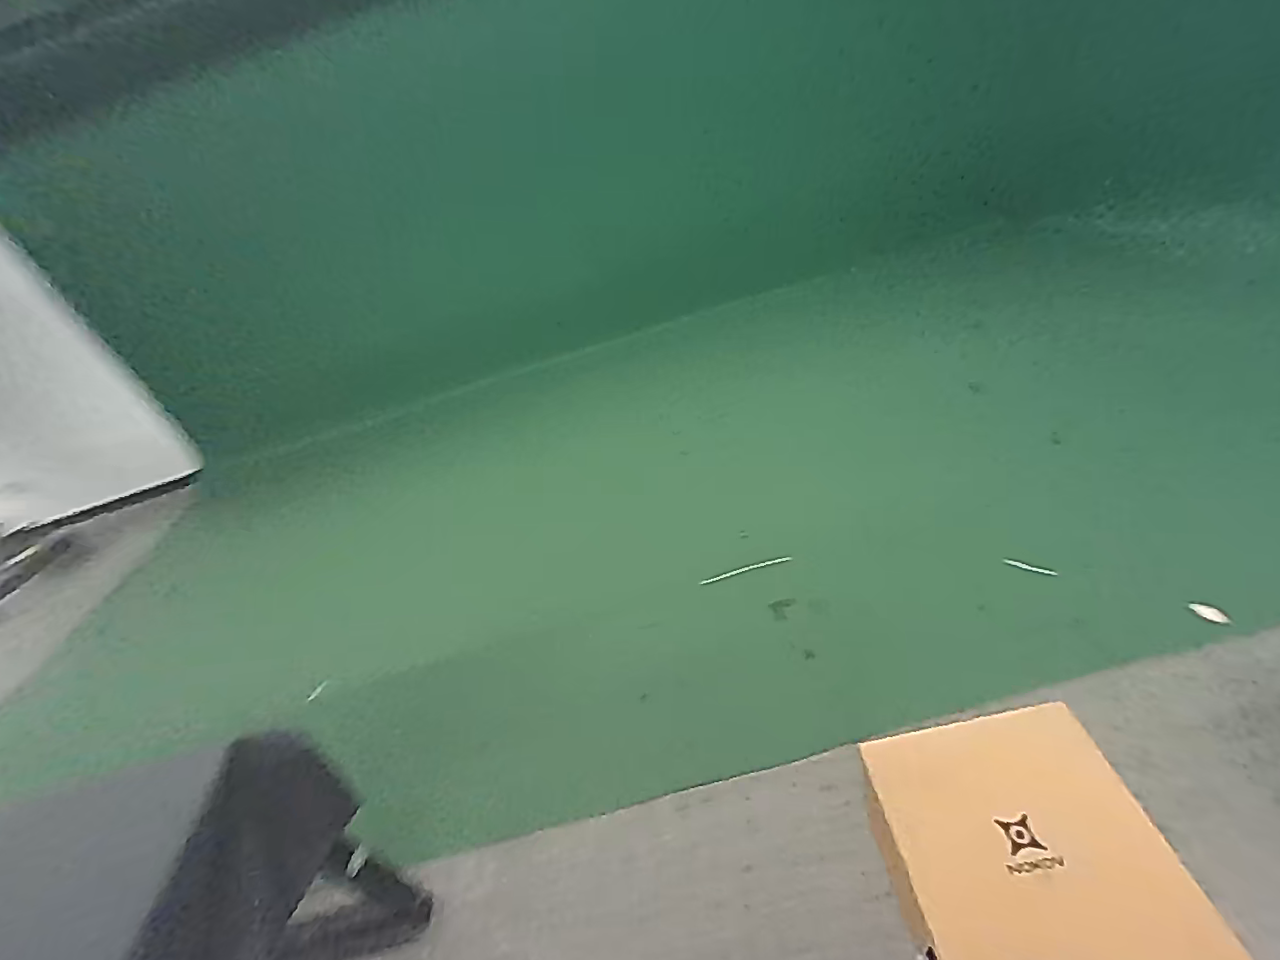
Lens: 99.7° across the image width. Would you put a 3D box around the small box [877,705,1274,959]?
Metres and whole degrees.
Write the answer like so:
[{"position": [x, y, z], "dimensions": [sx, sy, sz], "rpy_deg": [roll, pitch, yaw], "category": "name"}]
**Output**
[{"position": [0.299, 0.310, 0.418], "dimensions": [0.168, 0.176, 0.179], "rpy_deg": [-16, 37, 8], "category": "small box"}]
